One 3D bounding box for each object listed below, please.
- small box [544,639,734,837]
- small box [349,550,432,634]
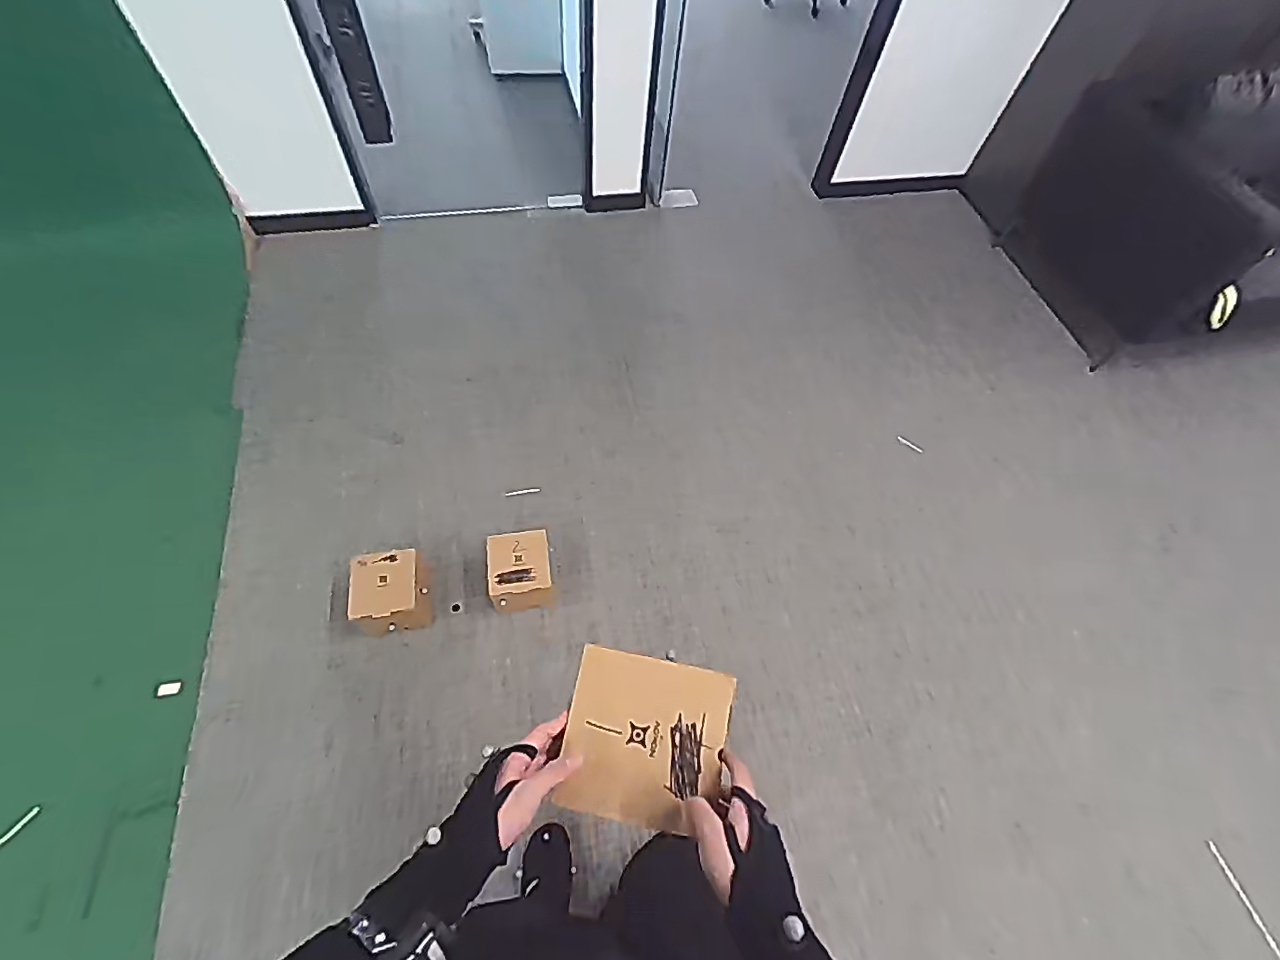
[{"bbox_3d":[0.003,0.293,0.651,0.179,0.176,0.168,11,73,5],"label":"small box"},{"bbox_3d":[-0.676,0.313,1.482,0.168,0.176,0.179,-7,61,-10],"label":"small box"}]
